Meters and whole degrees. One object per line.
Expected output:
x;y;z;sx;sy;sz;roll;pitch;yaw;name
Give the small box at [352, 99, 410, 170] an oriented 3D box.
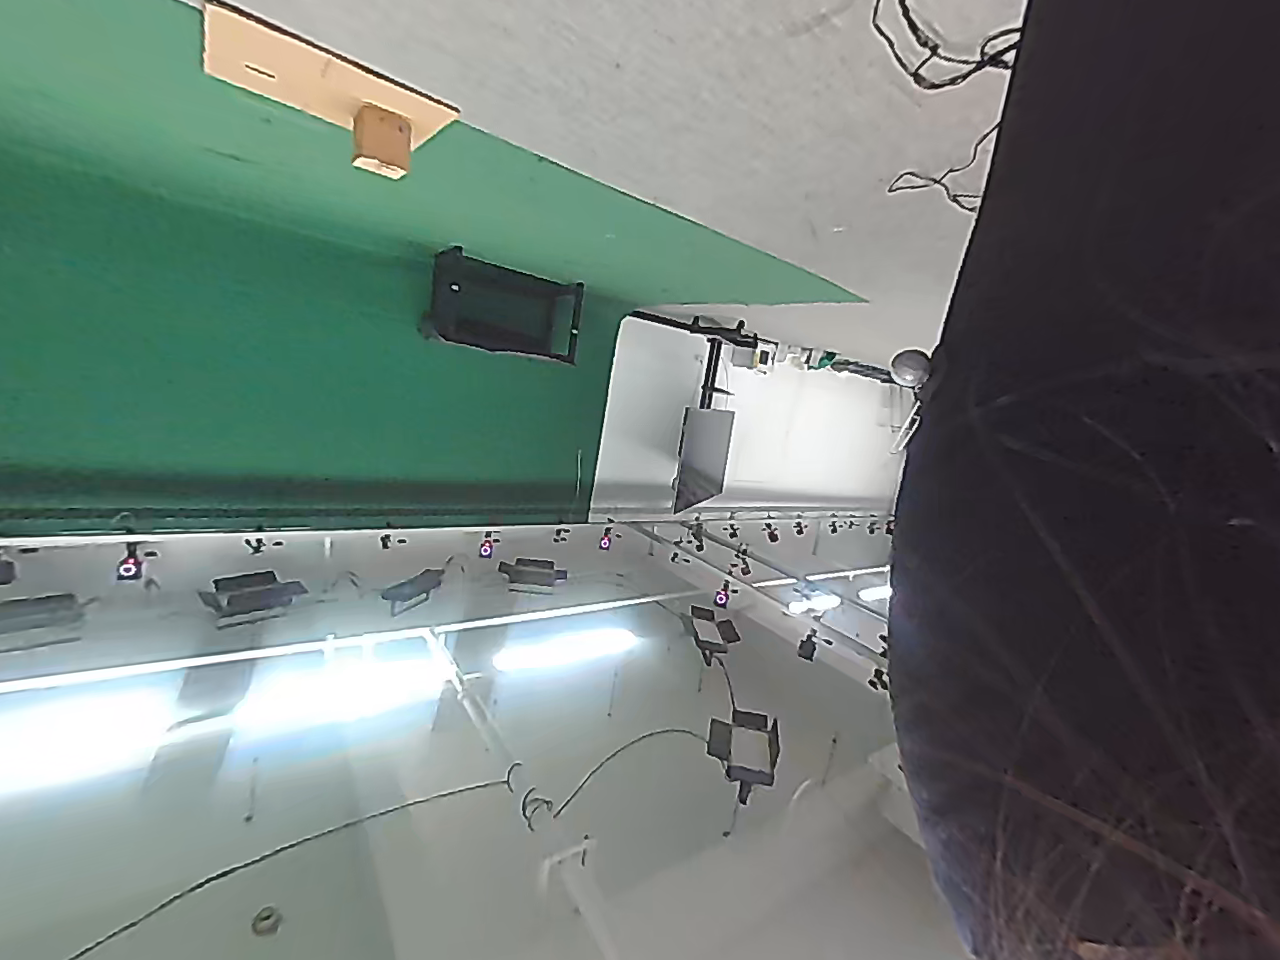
-0.980;-1.306;2.046;0.168;0.176;0.179;0;-164;-40;small box
